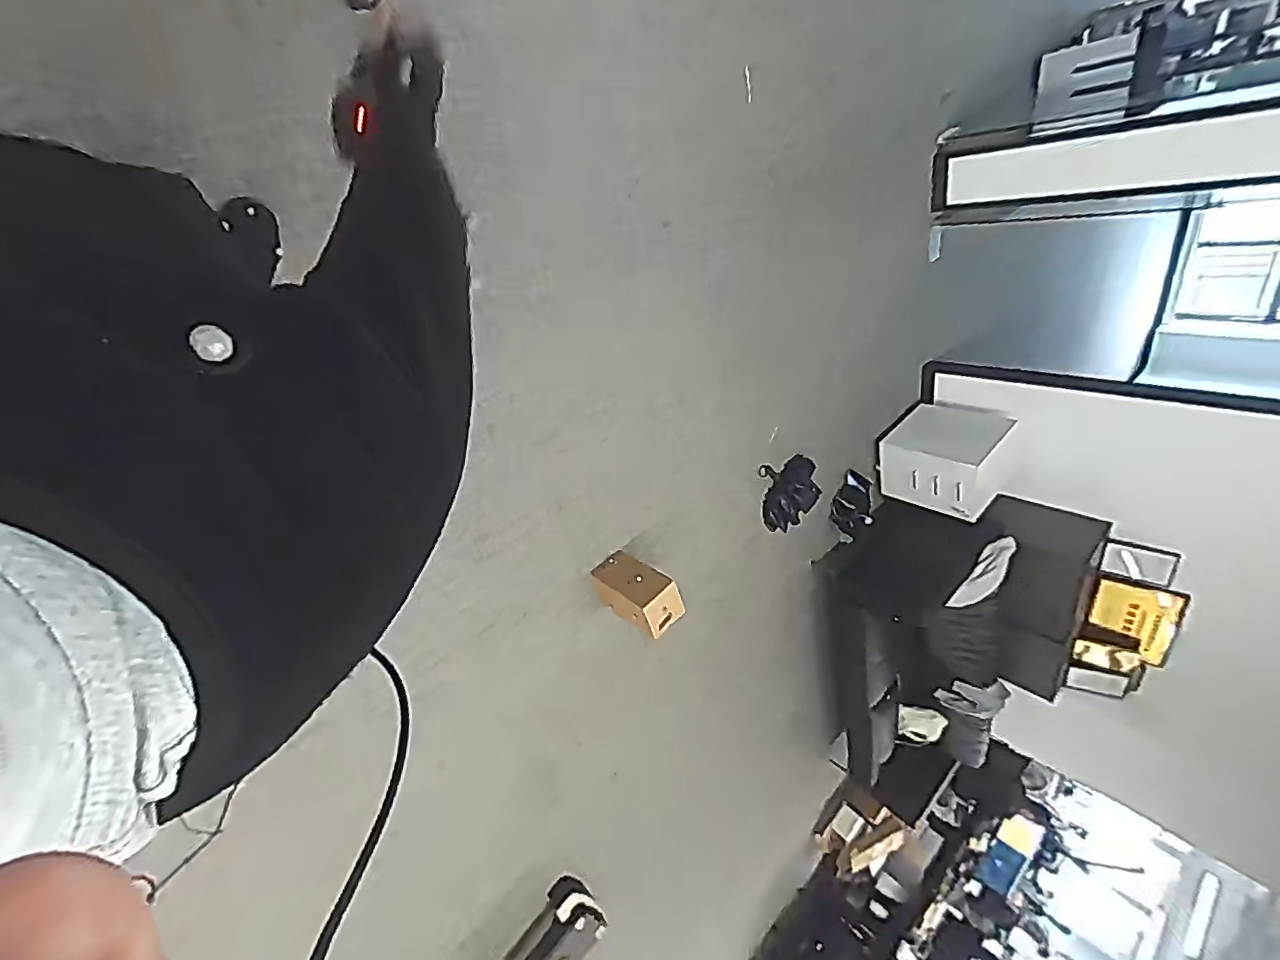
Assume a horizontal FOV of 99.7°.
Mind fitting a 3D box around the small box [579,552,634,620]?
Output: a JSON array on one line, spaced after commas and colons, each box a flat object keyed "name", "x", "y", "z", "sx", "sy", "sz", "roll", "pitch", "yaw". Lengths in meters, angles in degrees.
[{"name": "small box", "x": -0.113, "y": 0.417, "z": 2.154, "sx": 0.168, "sy": 0.176, "sz": 0.179, "roll": -38, "pitch": 127, "yaw": -28}]

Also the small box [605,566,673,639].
[{"name": "small box", "x": -0.004, "y": 0.455, "z": 2.036, "sx": 0.168, "sy": 0.176, "sz": 0.179, "roll": -38, "pitch": 128, "yaw": -27}]
